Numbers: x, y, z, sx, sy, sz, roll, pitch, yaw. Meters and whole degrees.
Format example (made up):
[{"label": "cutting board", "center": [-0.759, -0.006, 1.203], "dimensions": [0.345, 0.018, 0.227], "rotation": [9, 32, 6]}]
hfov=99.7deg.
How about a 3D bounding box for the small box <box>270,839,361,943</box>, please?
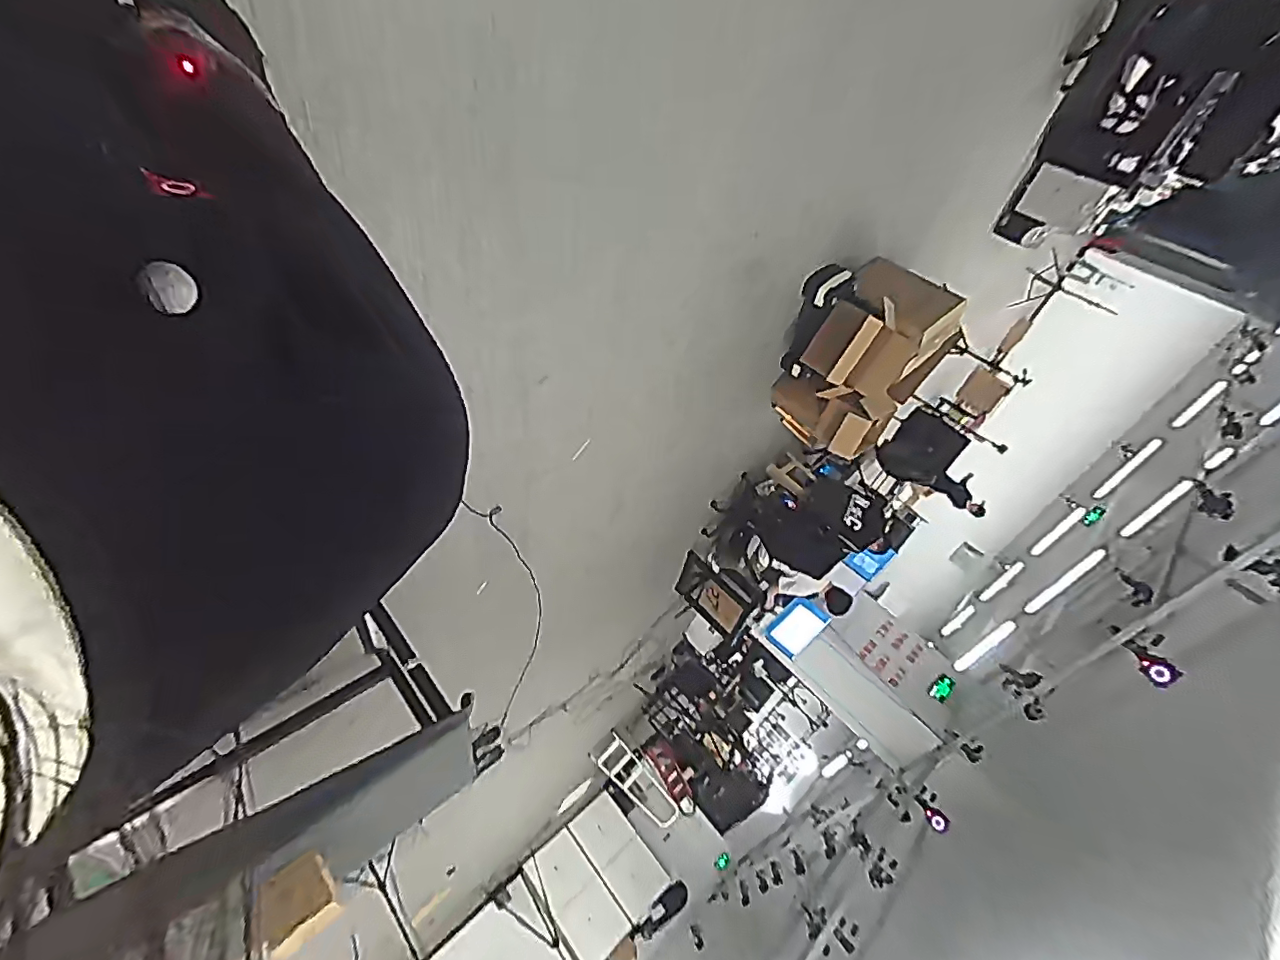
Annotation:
[{"label": "small box", "center": [-0.950, 1.200, 1.586], "dimensions": [0.168, 0.176, 0.179], "rotation": [-27, 147, -34]}]
